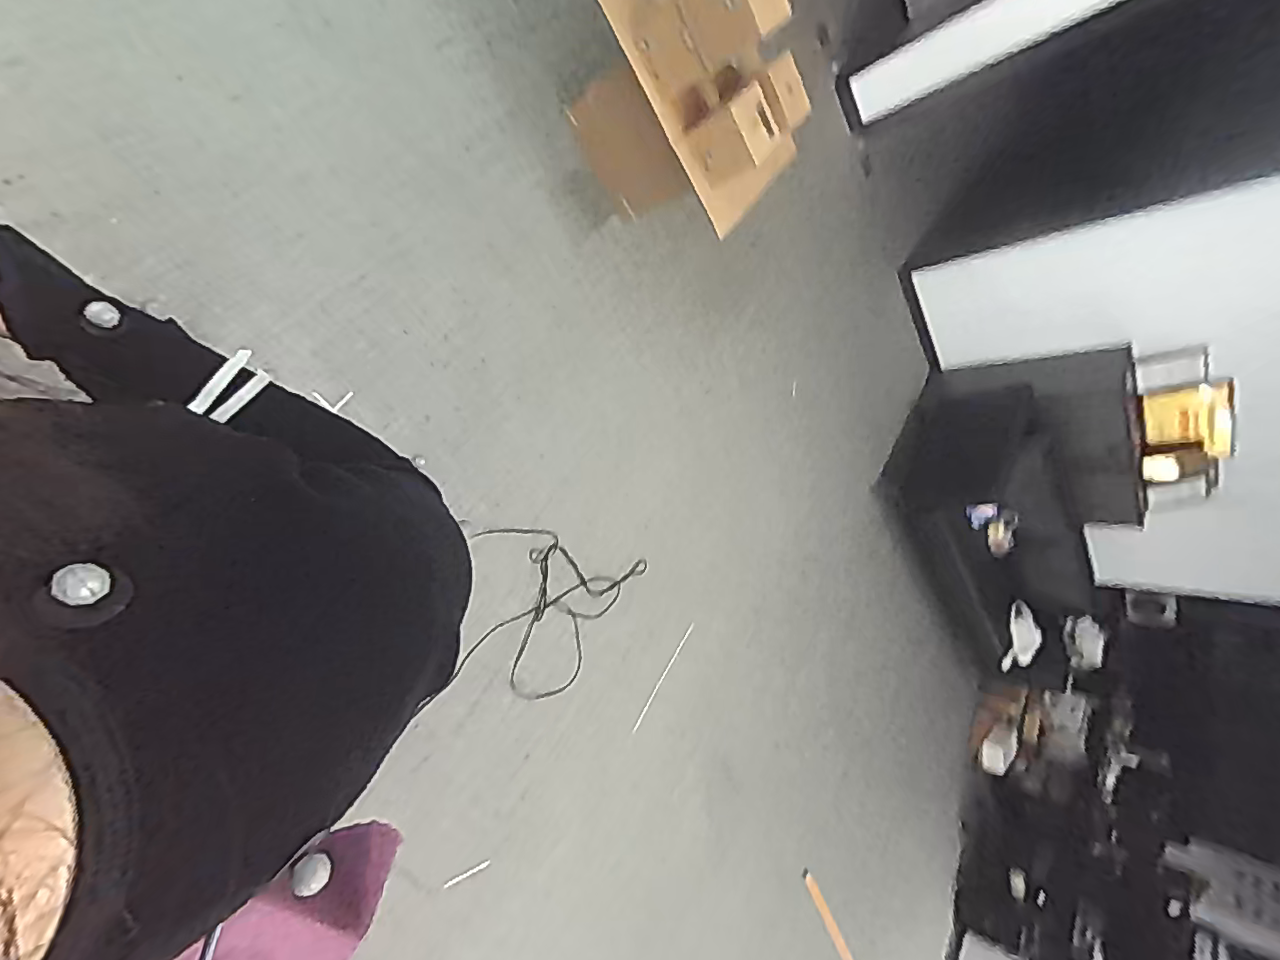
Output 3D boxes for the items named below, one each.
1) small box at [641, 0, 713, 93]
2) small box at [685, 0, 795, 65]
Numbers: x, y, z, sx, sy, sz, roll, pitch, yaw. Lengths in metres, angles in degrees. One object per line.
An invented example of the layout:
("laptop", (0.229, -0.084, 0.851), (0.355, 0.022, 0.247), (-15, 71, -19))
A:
("small box", (0.128, -1.151, 1.397), (0.179, 0.176, 0.168), (-53, 122, -28))
("small box", (0.229, -1.133, 1.269), (0.168, 0.176, 0.179), (-51, 122, -26))
